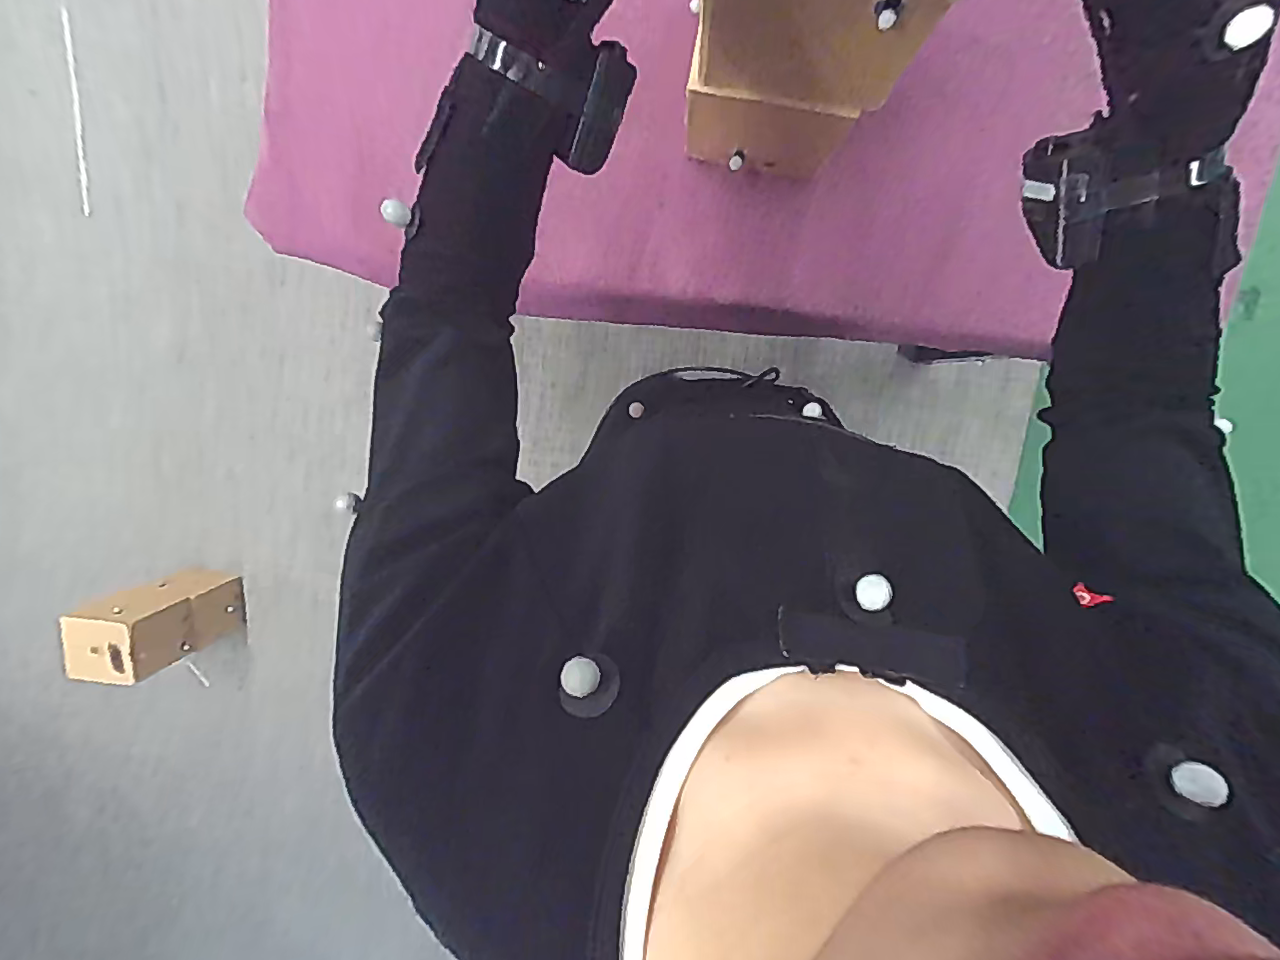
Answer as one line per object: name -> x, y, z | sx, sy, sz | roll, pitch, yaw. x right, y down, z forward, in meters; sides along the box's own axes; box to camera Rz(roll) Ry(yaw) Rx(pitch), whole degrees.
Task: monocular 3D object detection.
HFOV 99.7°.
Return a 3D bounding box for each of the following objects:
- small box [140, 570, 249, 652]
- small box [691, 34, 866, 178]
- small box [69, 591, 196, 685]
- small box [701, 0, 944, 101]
small box -> -1.264, 0.367, 1.543 | 0.179, 0.176, 0.168 | 6, 102, 2
small box -> 0.148, -0.450, 0.565 | 0.168, 0.176, 0.179 | 11, 102, 2
small box -> -1.280, 0.397, 1.382 | 0.179, 0.176, 0.168 | 5, 101, 3
small box -> 0.145, -0.421, 0.406 | 0.179, 0.176, 0.168 | 10, 101, 2
